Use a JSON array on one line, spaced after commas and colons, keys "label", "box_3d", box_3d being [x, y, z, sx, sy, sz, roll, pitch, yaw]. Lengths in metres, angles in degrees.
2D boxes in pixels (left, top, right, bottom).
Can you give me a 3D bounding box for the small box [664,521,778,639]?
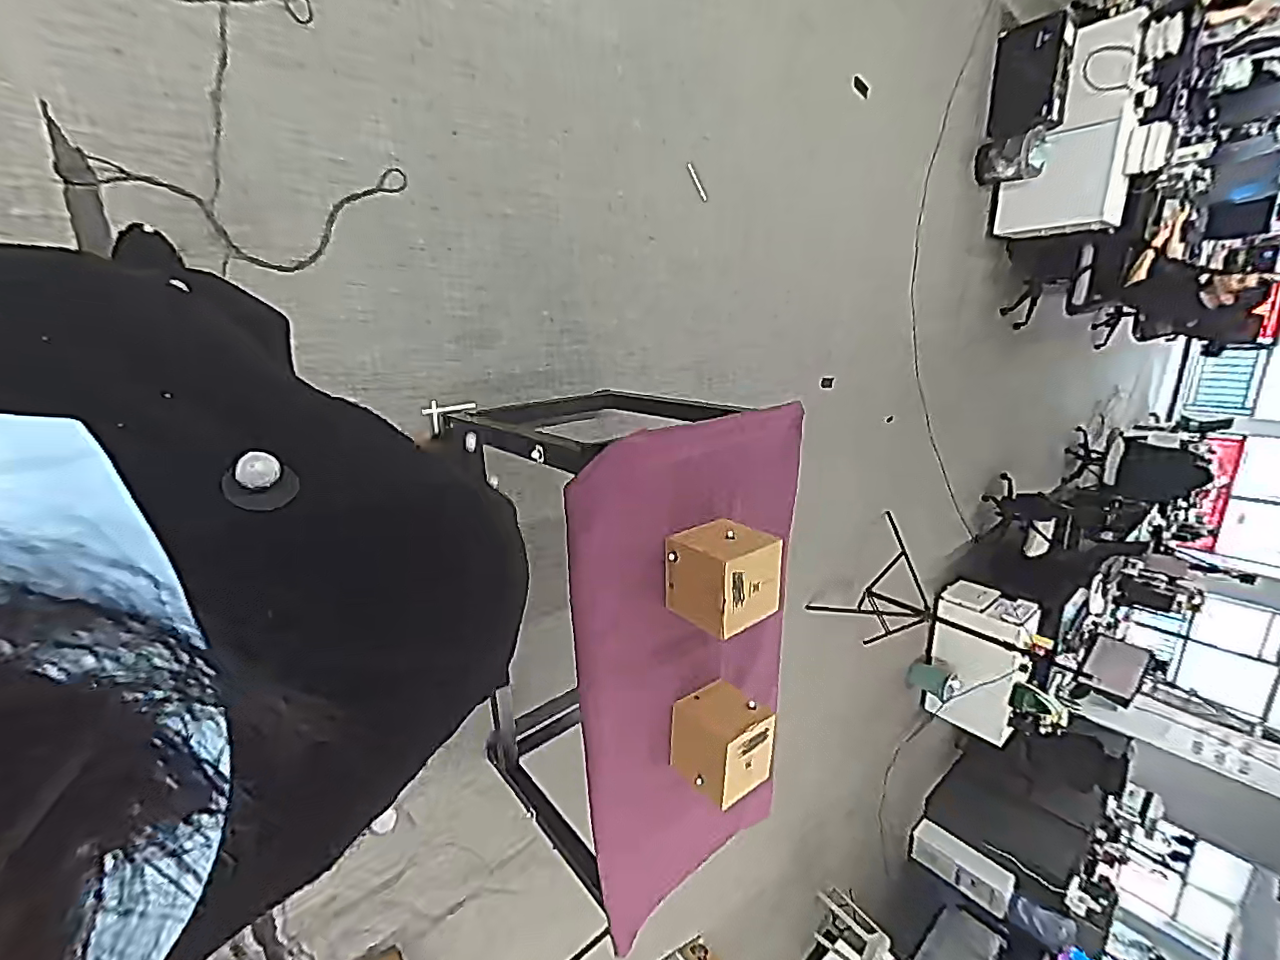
[{"label": "small box", "box_3d": [0.164, 0.199, 1.129, 0.179, 0.176, 0.168, -14, 111, -38]}]
